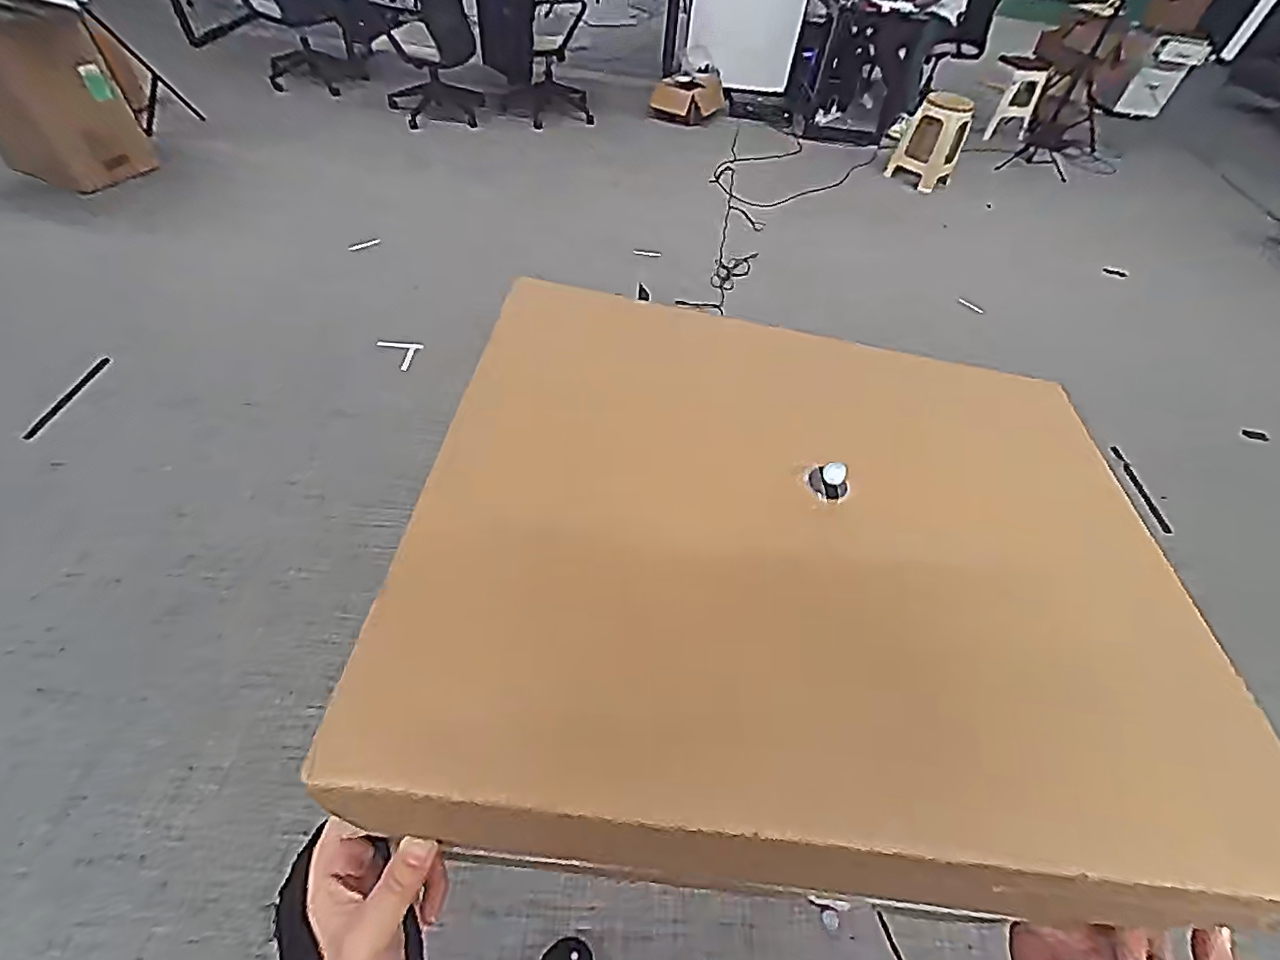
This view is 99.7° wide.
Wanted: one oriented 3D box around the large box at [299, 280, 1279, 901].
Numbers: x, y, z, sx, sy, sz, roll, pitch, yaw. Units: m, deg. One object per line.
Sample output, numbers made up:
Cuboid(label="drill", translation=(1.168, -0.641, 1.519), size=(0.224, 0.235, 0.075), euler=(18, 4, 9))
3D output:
Cuboid(label="large box", translation=(0.067, 0.094, 0.402), size=(0.408, 0.320, 0.320), euler=(9, 52, -4))
